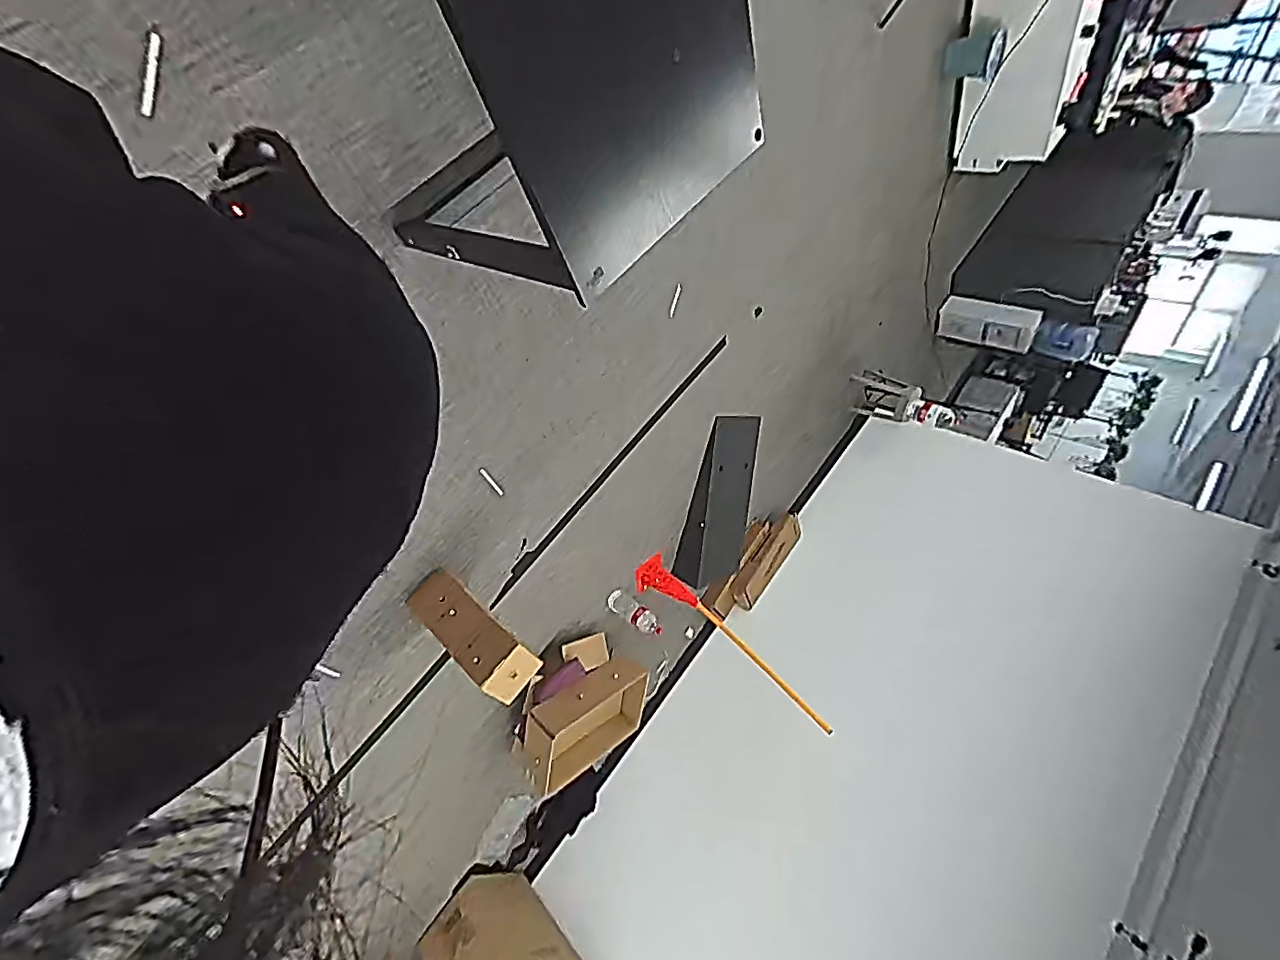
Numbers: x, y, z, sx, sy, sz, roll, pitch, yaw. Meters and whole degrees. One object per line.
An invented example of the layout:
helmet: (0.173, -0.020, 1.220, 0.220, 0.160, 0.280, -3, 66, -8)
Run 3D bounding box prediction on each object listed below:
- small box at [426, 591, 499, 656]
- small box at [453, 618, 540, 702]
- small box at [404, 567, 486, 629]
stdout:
small box: (-0.574, 0.499, 1.806, 0.168, 0.176, 0.179, -49, 142, -19)
small box: (-0.457, 0.563, 1.713, 0.168, 0.176, 0.179, -49, 143, -17)
small box: (-0.690, 0.439, 1.906, 0.179, 0.176, 0.168, -49, 142, -18)
